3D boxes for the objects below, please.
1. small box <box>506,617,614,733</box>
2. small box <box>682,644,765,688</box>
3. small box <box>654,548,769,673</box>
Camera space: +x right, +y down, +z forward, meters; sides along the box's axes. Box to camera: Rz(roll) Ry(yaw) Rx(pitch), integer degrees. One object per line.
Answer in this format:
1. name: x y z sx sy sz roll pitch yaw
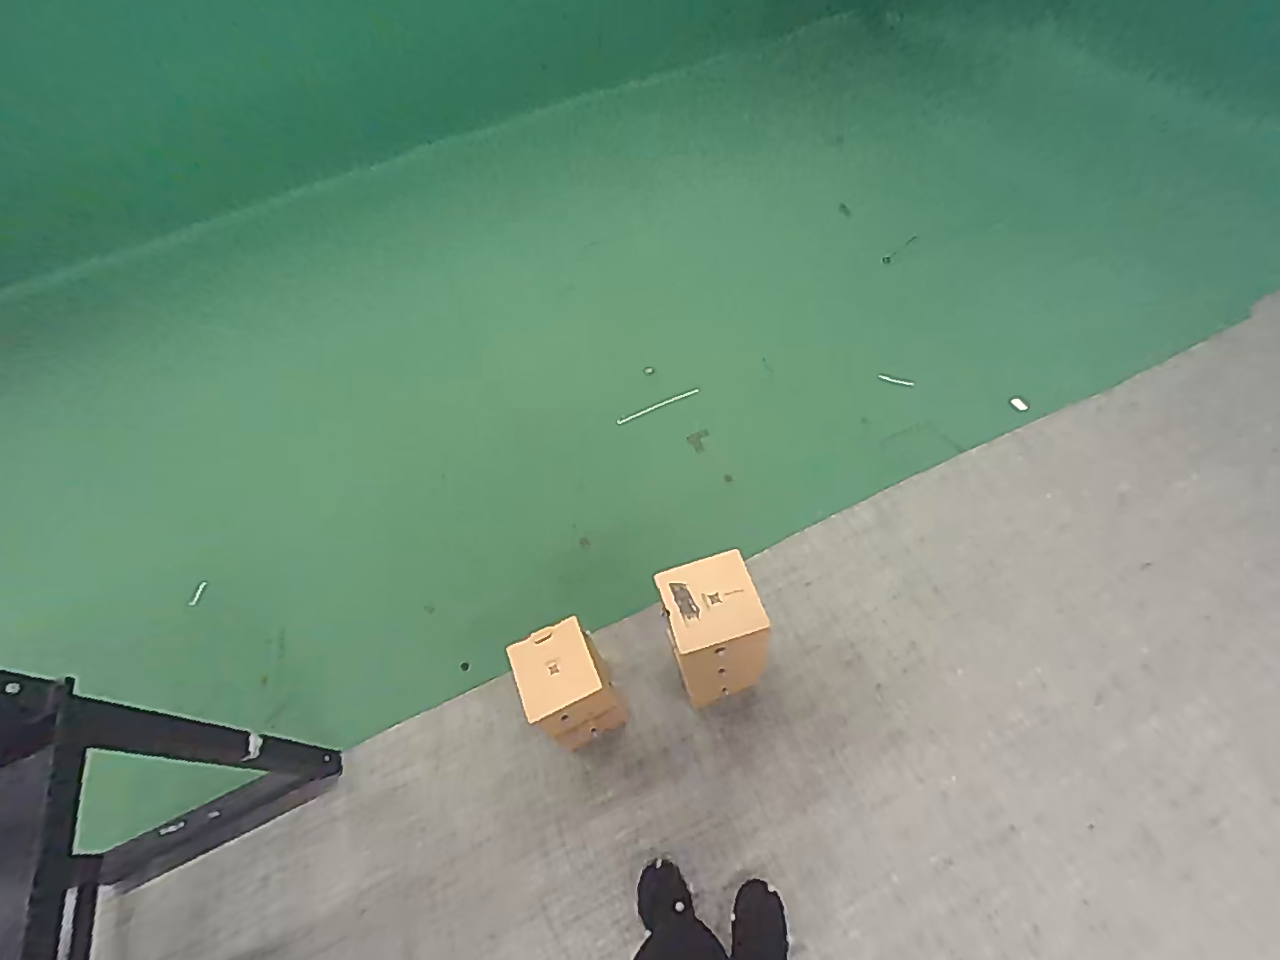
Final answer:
1. small box: -0.171 0.438 1.196 0.168 0.176 0.179 -25 55 -7
2. small box: 0.166 0.348 1.202 0.179 0.176 0.168 -15 57 -1
3. small box: 0.139 0.263 1.064 0.179 0.176 0.168 -17 57 -3
